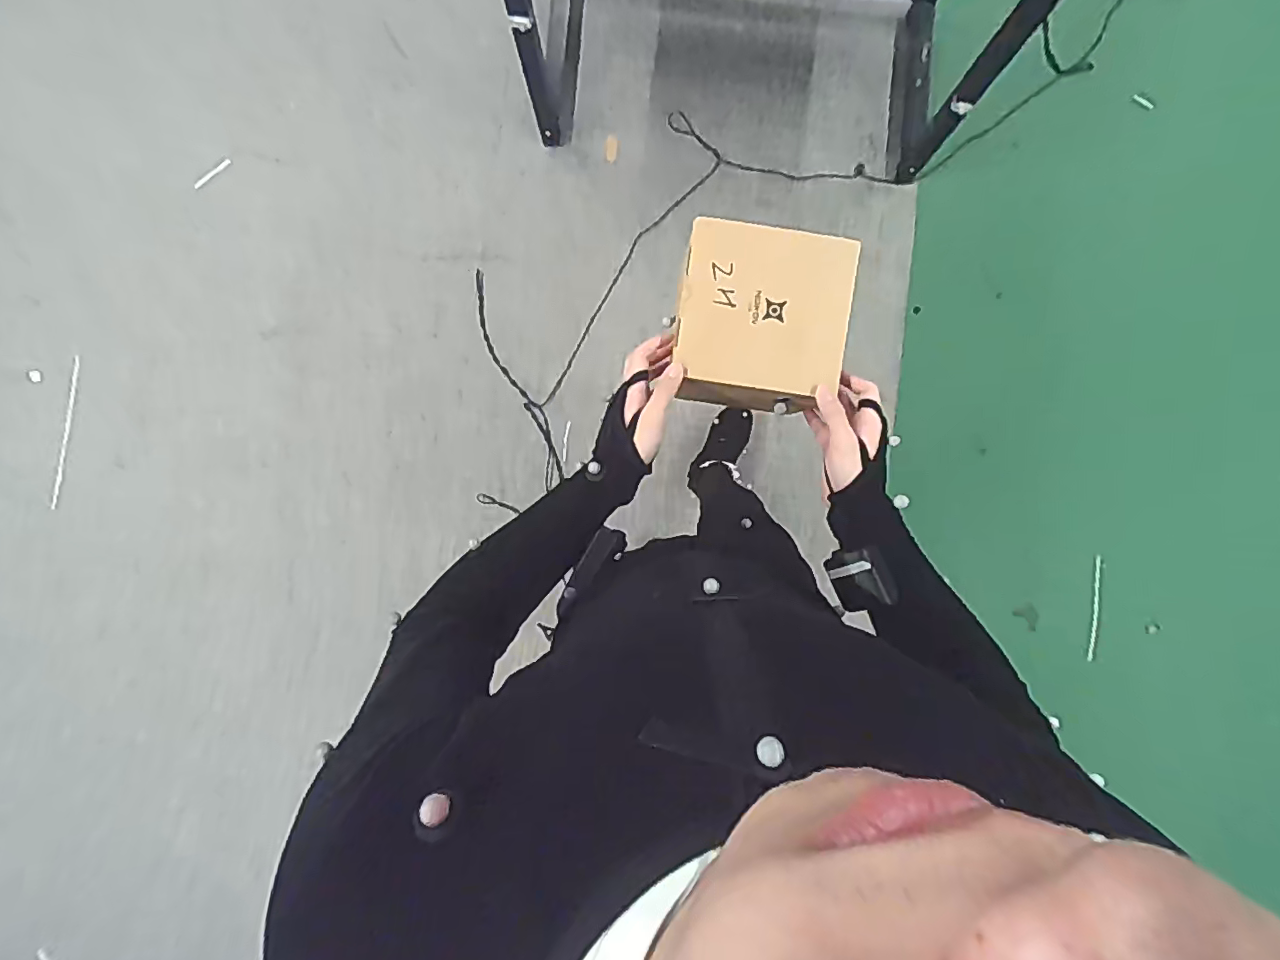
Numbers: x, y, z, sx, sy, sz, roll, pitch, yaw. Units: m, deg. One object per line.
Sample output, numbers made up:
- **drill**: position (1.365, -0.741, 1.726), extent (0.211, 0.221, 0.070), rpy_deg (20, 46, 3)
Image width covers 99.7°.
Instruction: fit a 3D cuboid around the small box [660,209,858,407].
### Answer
- **small box**: position (0.123, -0.183, 0.627), extent (0.179, 0.176, 0.168), rpy_deg (9, 91, 0)
